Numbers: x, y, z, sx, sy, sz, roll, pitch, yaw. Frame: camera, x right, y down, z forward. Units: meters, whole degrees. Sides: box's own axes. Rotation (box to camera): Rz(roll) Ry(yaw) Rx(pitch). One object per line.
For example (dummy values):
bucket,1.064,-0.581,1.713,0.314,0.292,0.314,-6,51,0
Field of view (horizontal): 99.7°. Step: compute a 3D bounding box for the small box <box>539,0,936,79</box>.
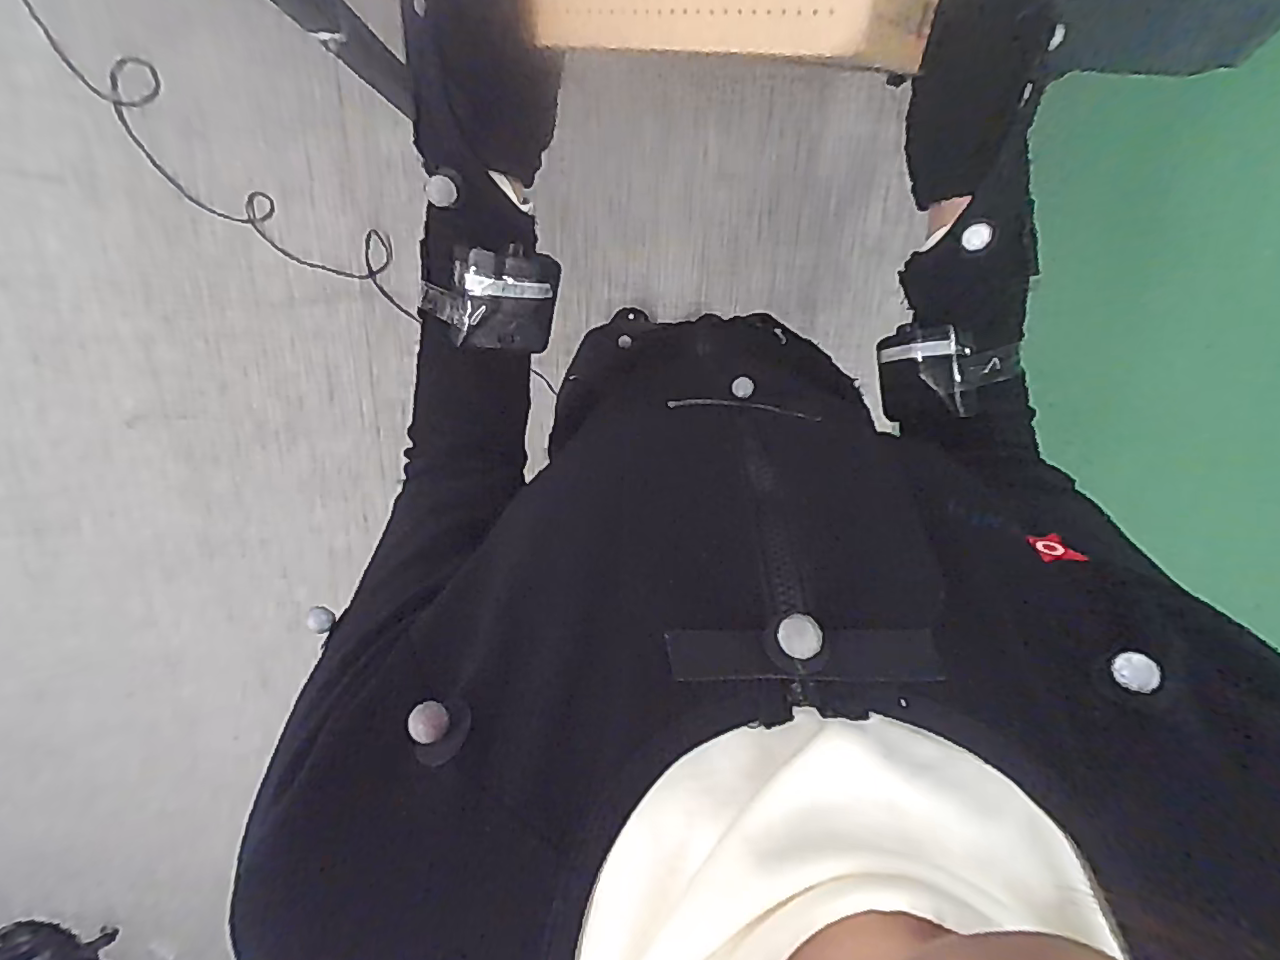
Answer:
small box,0.060,-0.309,0.263,0.179,0.168,0.176,23,131,23
